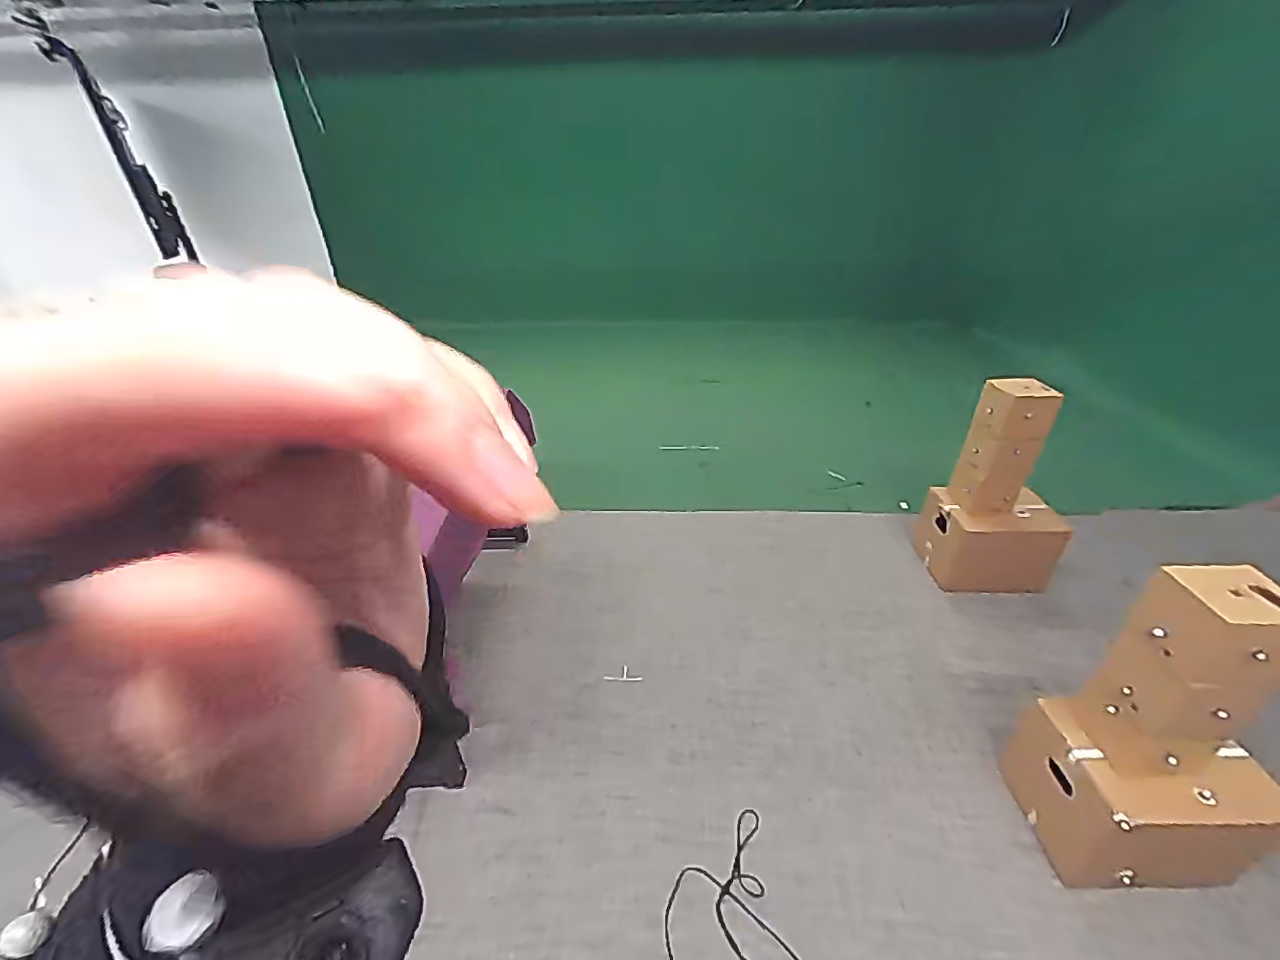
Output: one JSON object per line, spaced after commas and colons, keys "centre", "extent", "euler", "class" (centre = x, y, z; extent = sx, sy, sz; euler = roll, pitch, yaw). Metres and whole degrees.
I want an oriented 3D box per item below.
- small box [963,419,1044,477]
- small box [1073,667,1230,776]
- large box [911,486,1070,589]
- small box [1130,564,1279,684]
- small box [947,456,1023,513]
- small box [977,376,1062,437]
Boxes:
{"centre": [1.341, -0.121, 2.016], "extent": [0.179, 0.176, 0.168], "euler": [-2, 33, -4], "class": "small box"}
{"centre": [1.166, 0.561, 1.252], "extent": [0.168, 0.176, 0.179], "euler": [-1, 31, 0], "class": "small box"}
{"centre": [1.408, 0.233, 2.218], "extent": [0.408, 0.320, 0.320], "euler": [1, 32, 1], "class": "large box"}
{"centre": [1.147, 0.284, 1.073], "extent": [0.179, 0.176, 0.168], "euler": [-1, 31, 4], "class": "small box"}
{"centre": [1.336, 0.018, 2.104], "extent": [0.168, 0.176, 0.179], "euler": [0, 31, 0], "class": "small box"}
{"centre": [1.338, -0.259, 1.927], "extent": [0.179, 0.176, 0.168], "euler": [-2, 32, -1], "class": "small box"}
